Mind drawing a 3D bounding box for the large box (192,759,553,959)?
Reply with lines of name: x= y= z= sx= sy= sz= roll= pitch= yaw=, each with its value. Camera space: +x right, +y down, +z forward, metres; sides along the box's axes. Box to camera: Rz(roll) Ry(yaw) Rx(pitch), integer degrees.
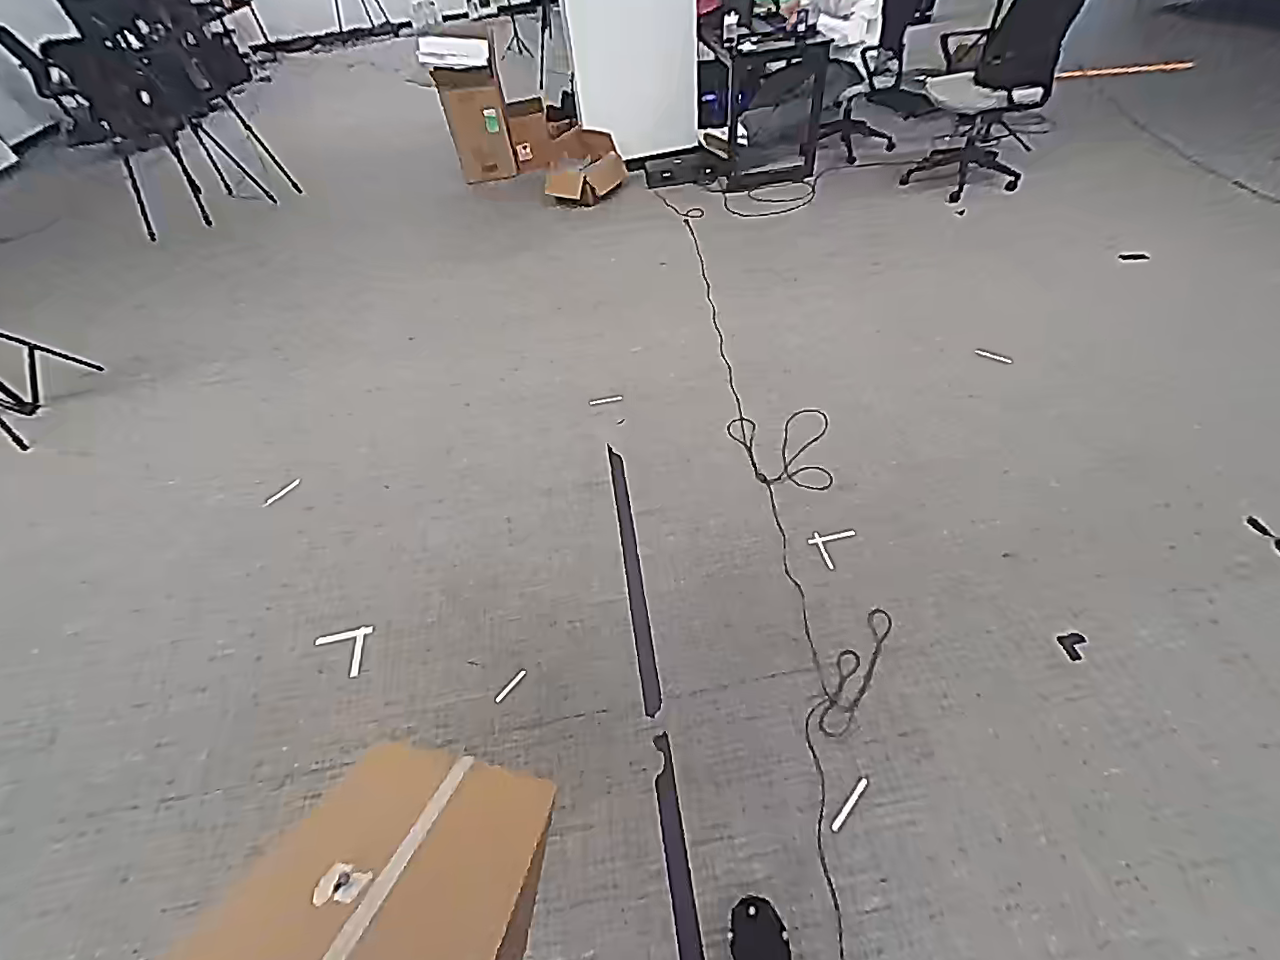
large box: x=-0.334 y=0.662 z=0.723 sx=0.320 sy=0.408 sz=0.320 roll=10 pitch=95 yaw=4
